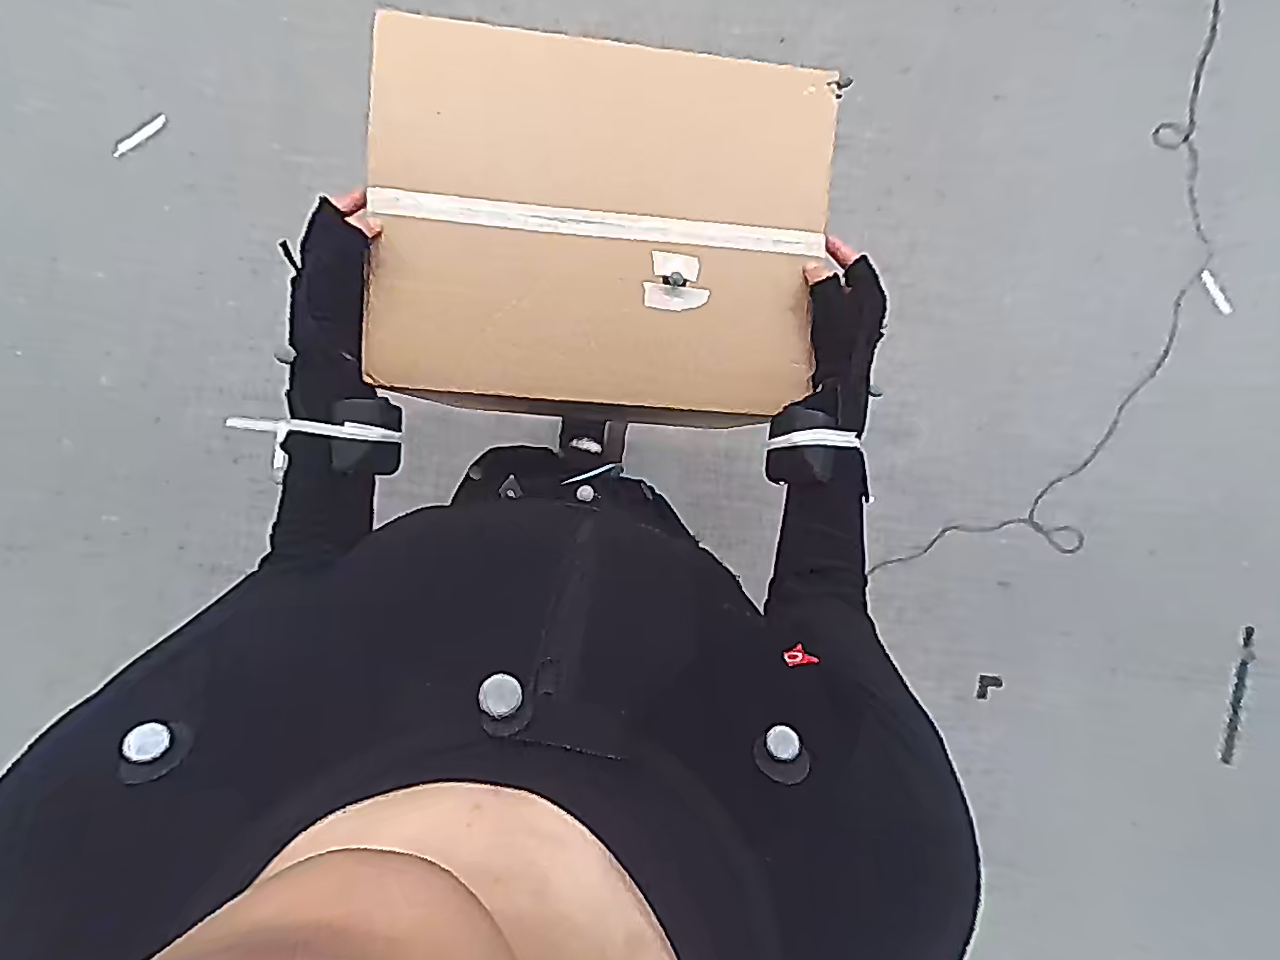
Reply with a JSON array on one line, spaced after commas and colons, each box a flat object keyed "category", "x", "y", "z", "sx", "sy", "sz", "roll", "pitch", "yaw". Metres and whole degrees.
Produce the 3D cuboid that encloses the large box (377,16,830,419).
[{"category": "large box", "x": -0.045, "y": -0.245, "z": 0.637, "sx": 0.408, "sy": 0.320, "sz": 0.320, "roll": 4, "pitch": 94, "yaw": -6}]
